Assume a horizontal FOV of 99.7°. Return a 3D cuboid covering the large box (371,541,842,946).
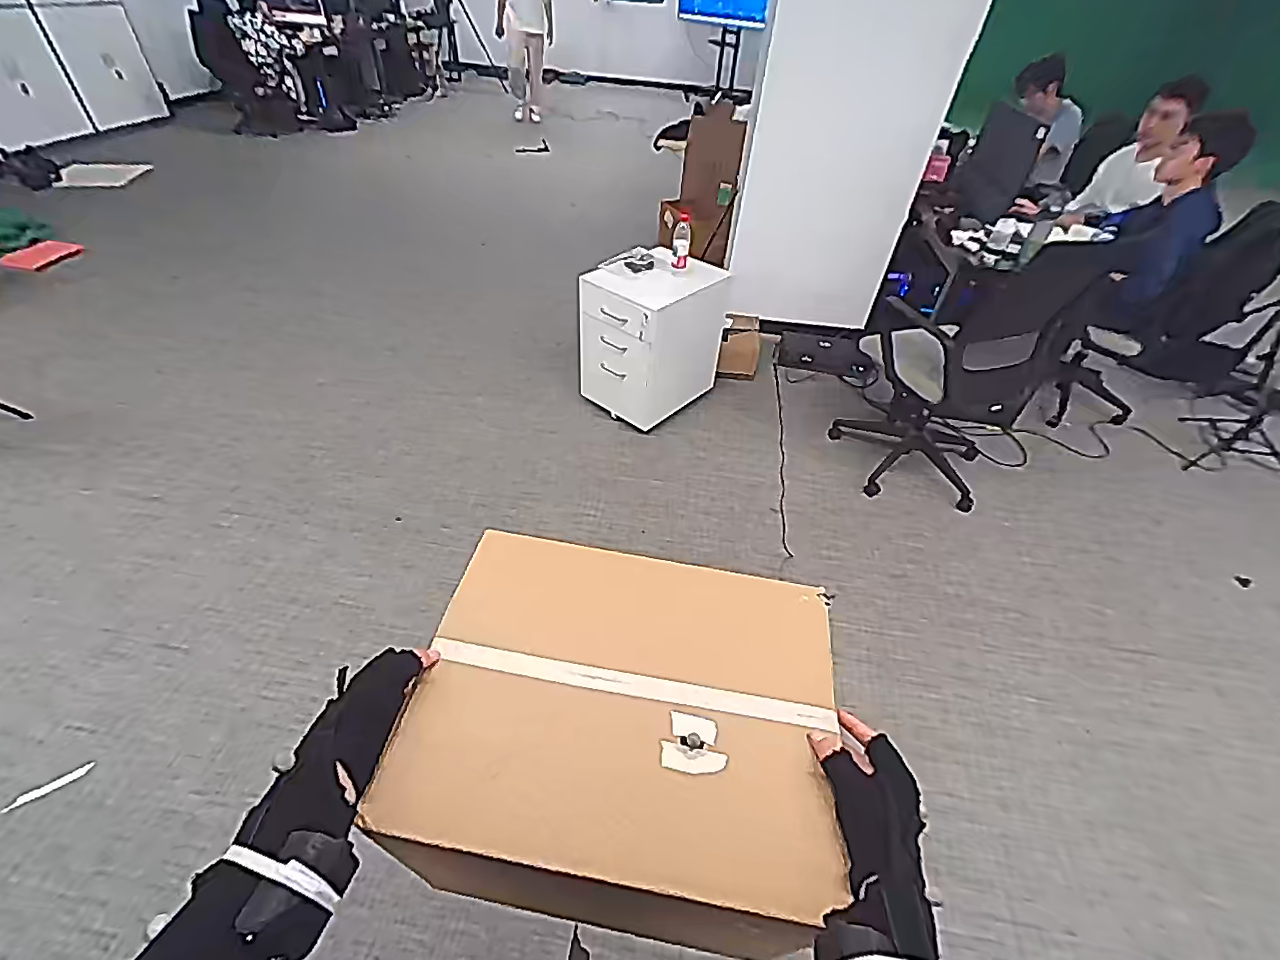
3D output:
[{"bbox_3d":[-0.023,0.314,0.650,0.408,0.320,0.320,10,47,3],"label":"large box"}]
